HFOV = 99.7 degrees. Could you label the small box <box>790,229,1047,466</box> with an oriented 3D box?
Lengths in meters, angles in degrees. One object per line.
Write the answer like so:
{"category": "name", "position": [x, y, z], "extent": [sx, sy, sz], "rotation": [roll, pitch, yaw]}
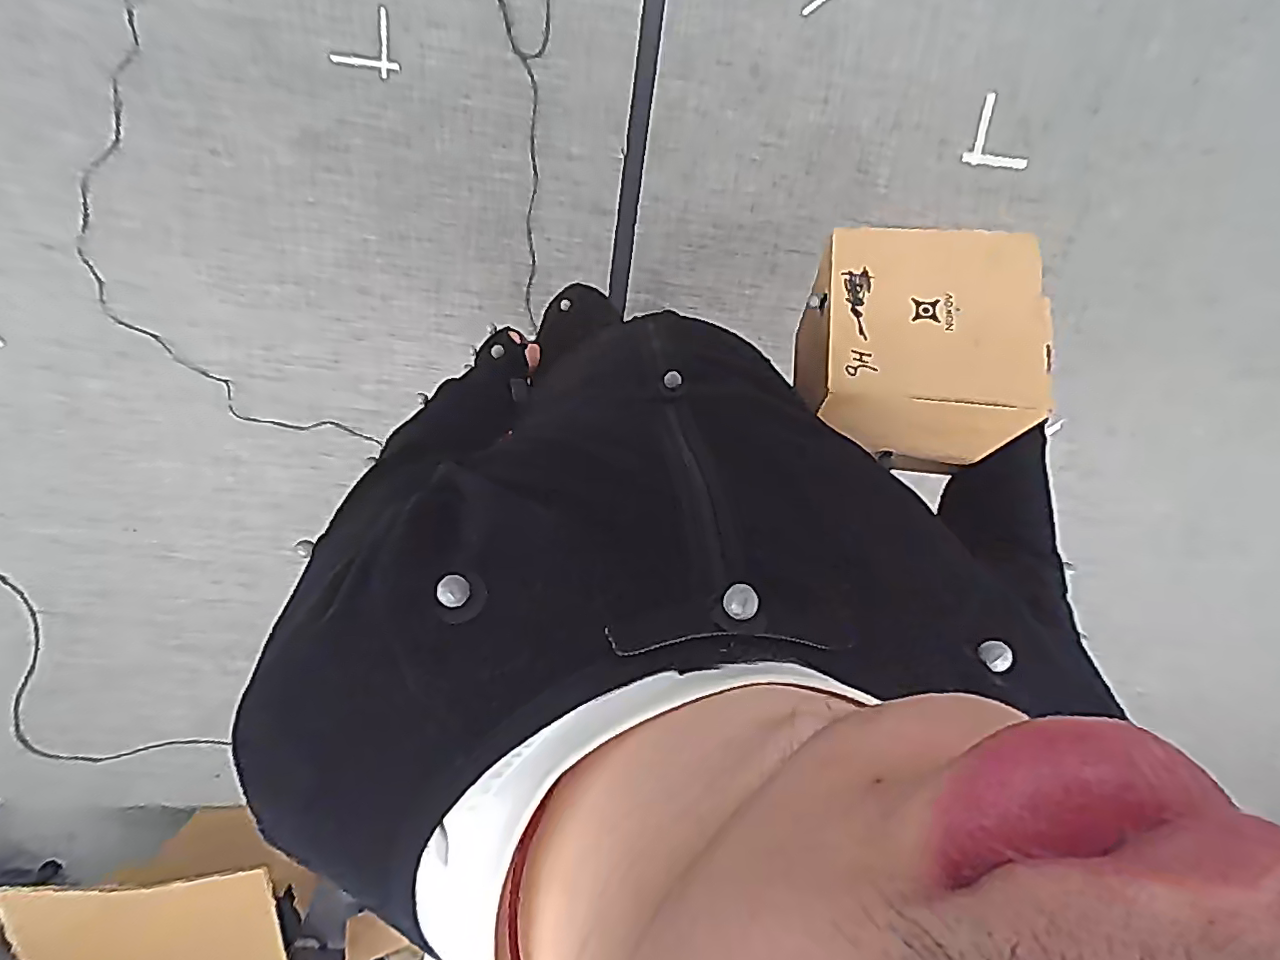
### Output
{"category": "small box", "position": [0.261, -0.121, 0.544], "extent": [0.179, 0.176, 0.168], "rotation": [6, 73, 6]}
